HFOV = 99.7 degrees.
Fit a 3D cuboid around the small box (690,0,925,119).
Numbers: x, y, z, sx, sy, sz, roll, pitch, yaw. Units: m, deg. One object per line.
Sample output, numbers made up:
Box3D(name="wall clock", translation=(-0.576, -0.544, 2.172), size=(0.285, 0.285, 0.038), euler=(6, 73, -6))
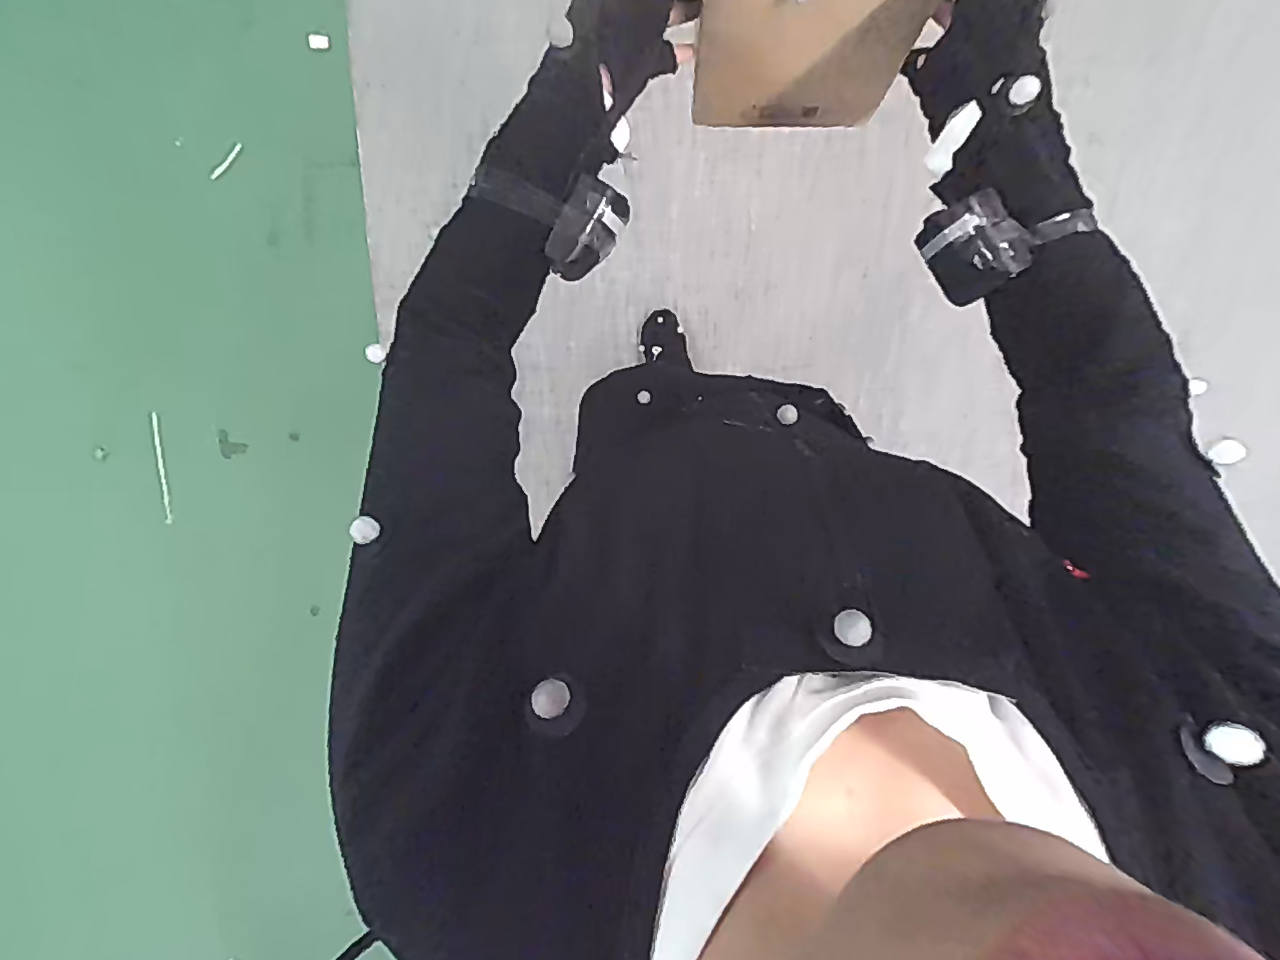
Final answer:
Box3D(name="small box", translation=(0.127, -0.430, 0.428), size=(0.168, 0.176, 0.179), euler=(1, 87, 2))
